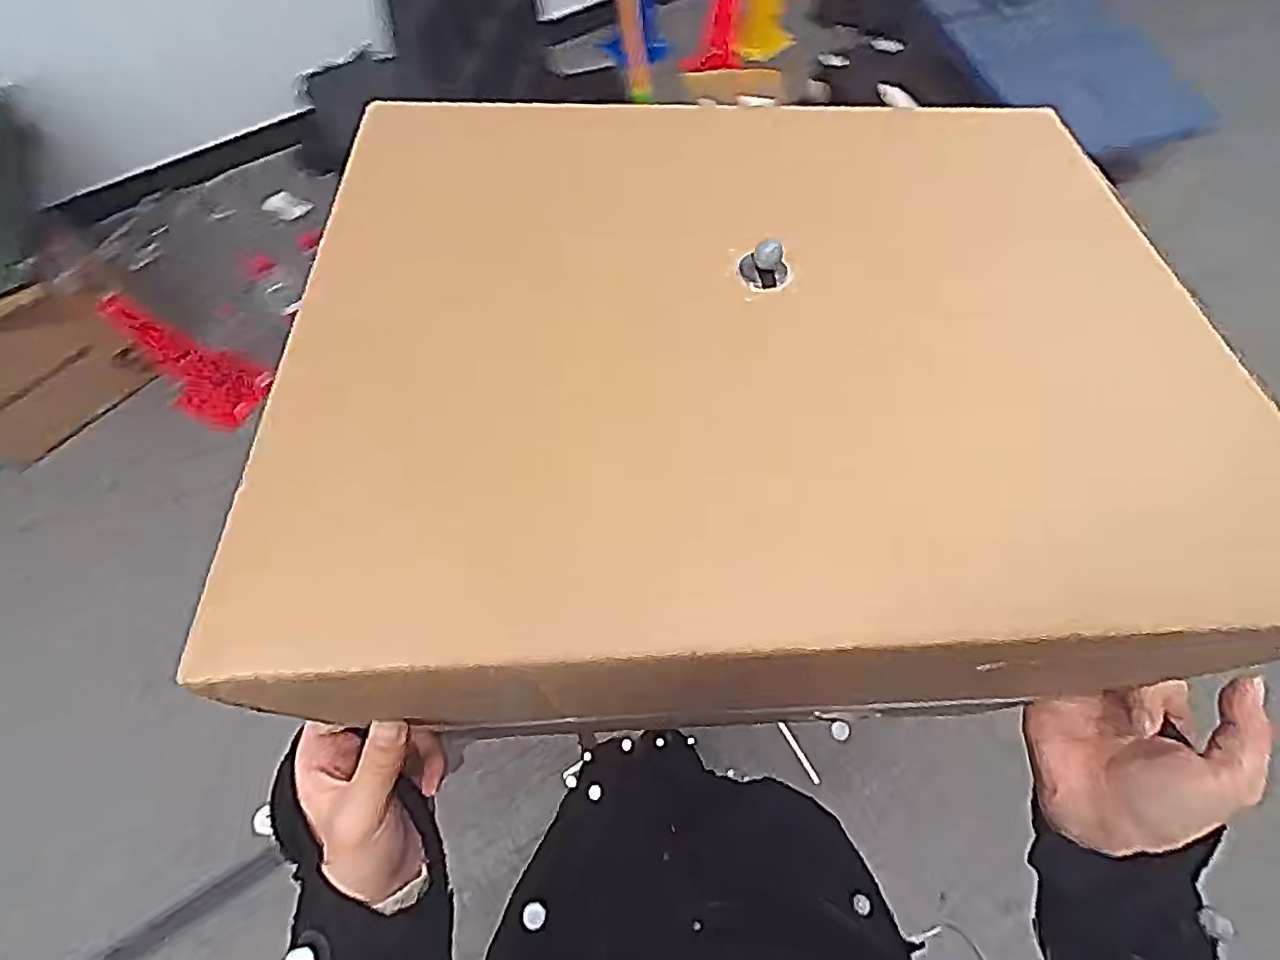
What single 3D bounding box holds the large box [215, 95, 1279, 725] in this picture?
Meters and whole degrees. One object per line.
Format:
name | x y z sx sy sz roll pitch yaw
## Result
large box | 0.054 -0.018 0.372 0.408 0.320 0.320 -1 63 -2
